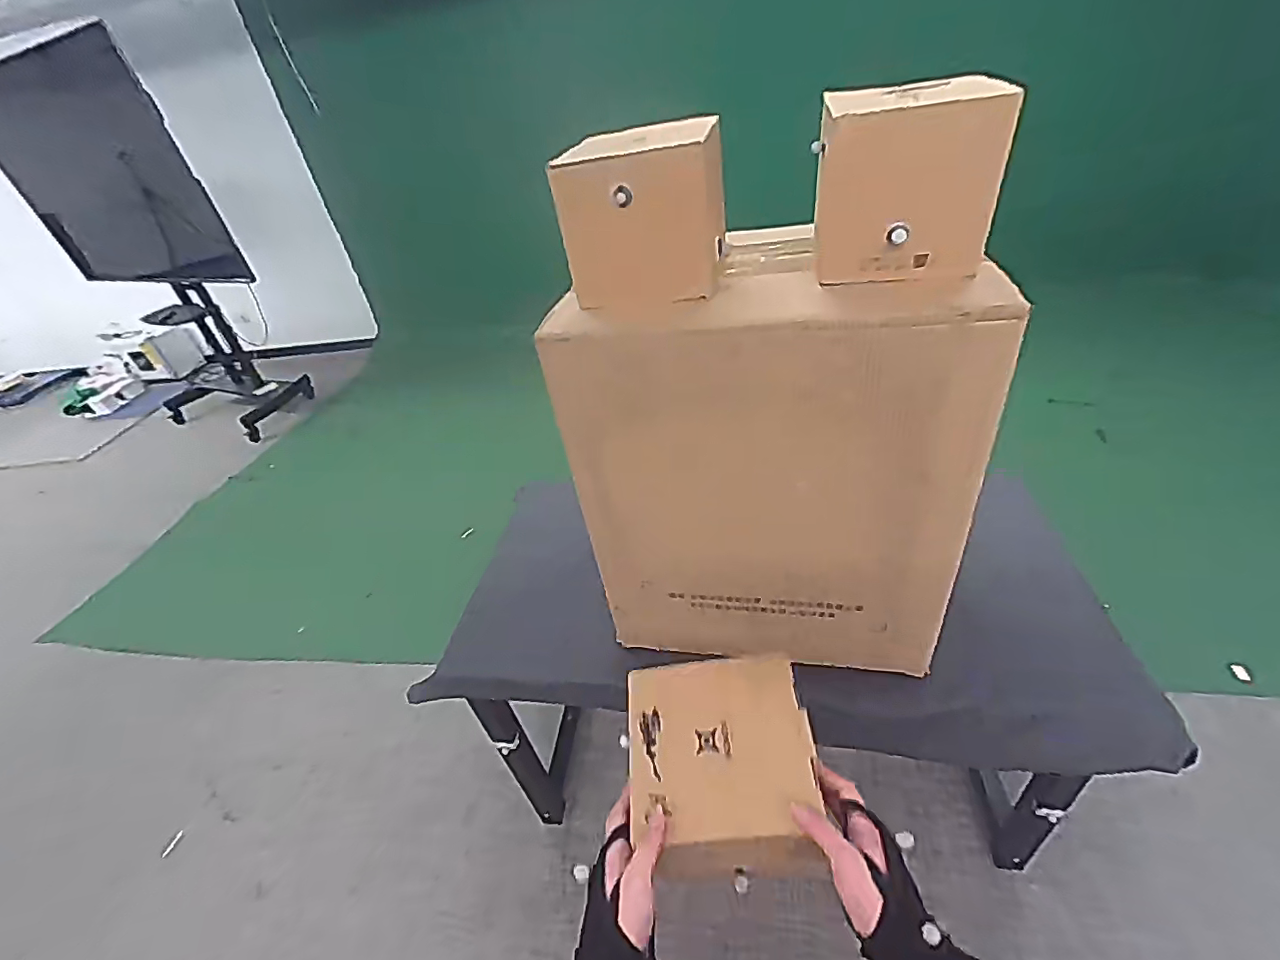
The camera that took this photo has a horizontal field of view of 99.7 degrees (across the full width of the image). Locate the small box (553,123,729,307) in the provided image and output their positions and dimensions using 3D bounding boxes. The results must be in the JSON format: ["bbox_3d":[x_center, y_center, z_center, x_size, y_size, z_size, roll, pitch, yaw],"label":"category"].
[{"bbox_3d":[0.015,-0.327,0.680,0.179,0.176,0.168,2,42,14],"label":"small box"}]

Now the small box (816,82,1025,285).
[{"bbox_3d":[0.296,-0.336,0.619,0.168,0.176,0.179,2,41,14],"label":"small box"}]
